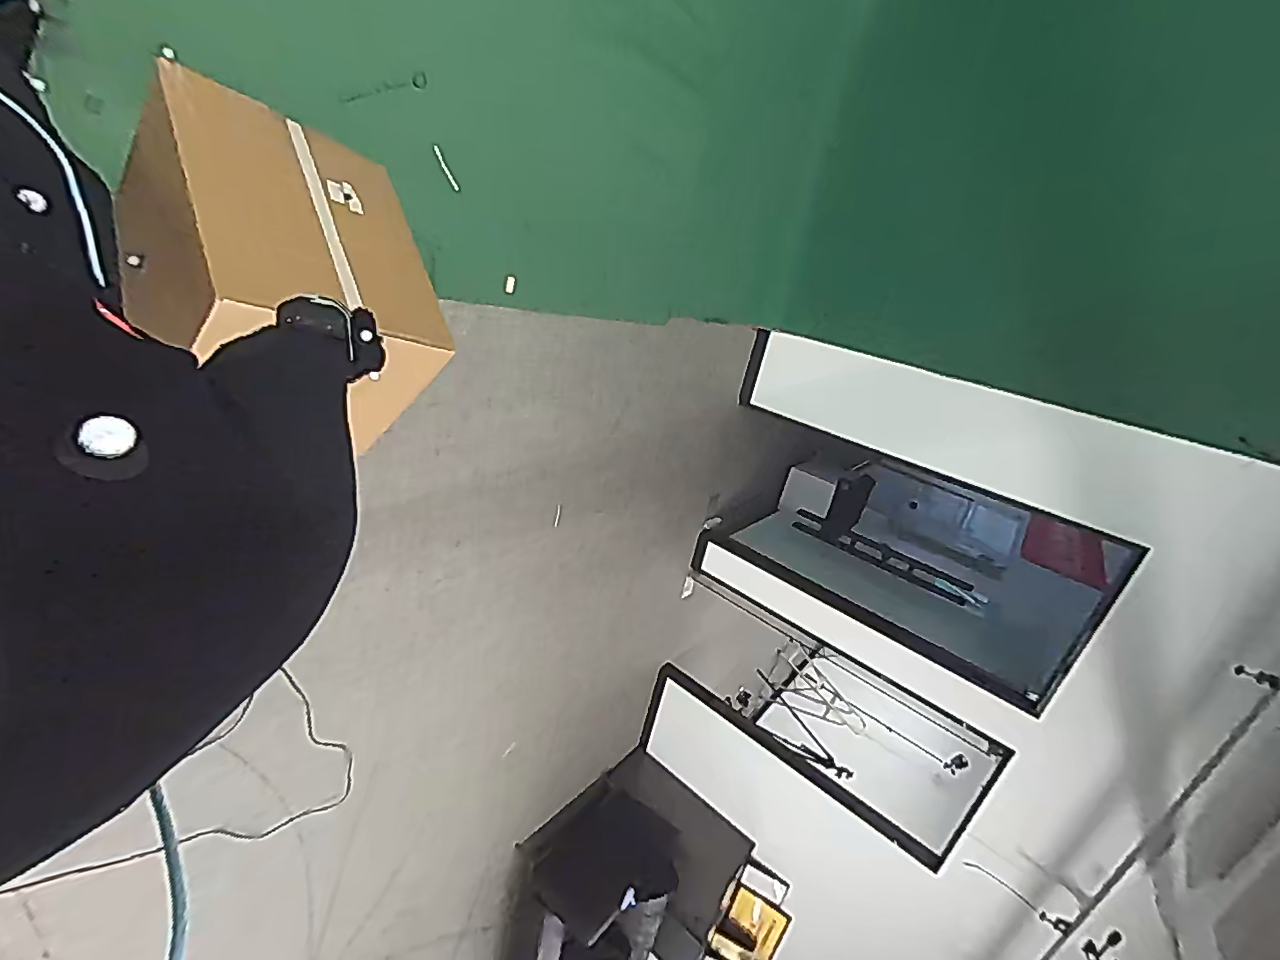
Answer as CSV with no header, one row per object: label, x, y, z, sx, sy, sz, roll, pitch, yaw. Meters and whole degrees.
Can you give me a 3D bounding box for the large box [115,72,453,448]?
large box,-0.567,-0.296,0.856,0.320,0.408,0.320,-35,161,29
